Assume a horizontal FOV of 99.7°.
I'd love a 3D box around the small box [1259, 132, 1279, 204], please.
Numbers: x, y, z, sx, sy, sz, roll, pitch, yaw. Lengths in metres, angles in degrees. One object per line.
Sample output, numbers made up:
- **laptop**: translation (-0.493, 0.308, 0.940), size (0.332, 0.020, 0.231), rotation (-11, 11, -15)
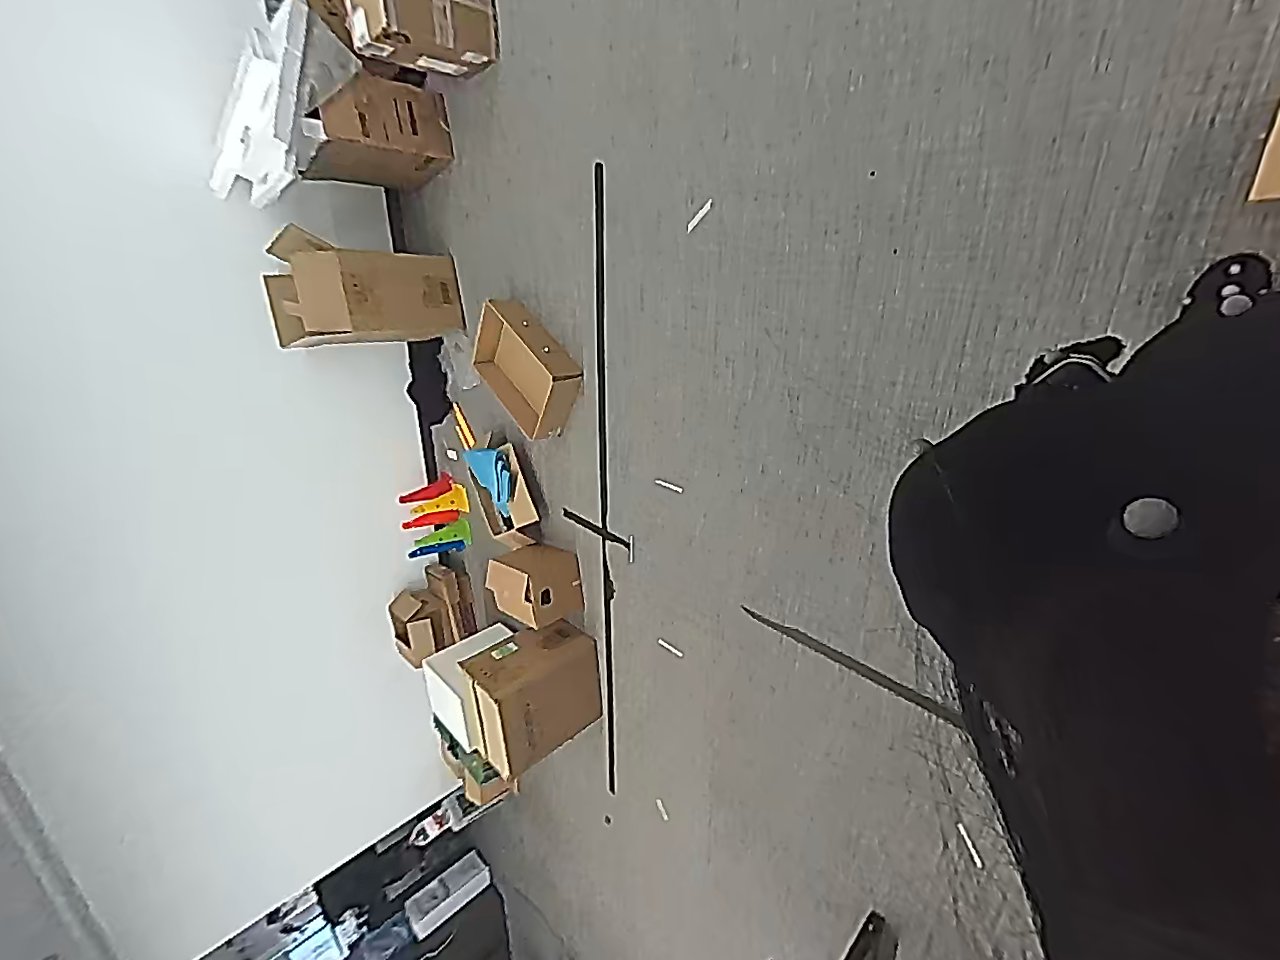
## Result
- **small box**: translation (1.100, -0.533, 0.830), size (0.168, 0.176, 0.179), rotation (20, 120, 43)
